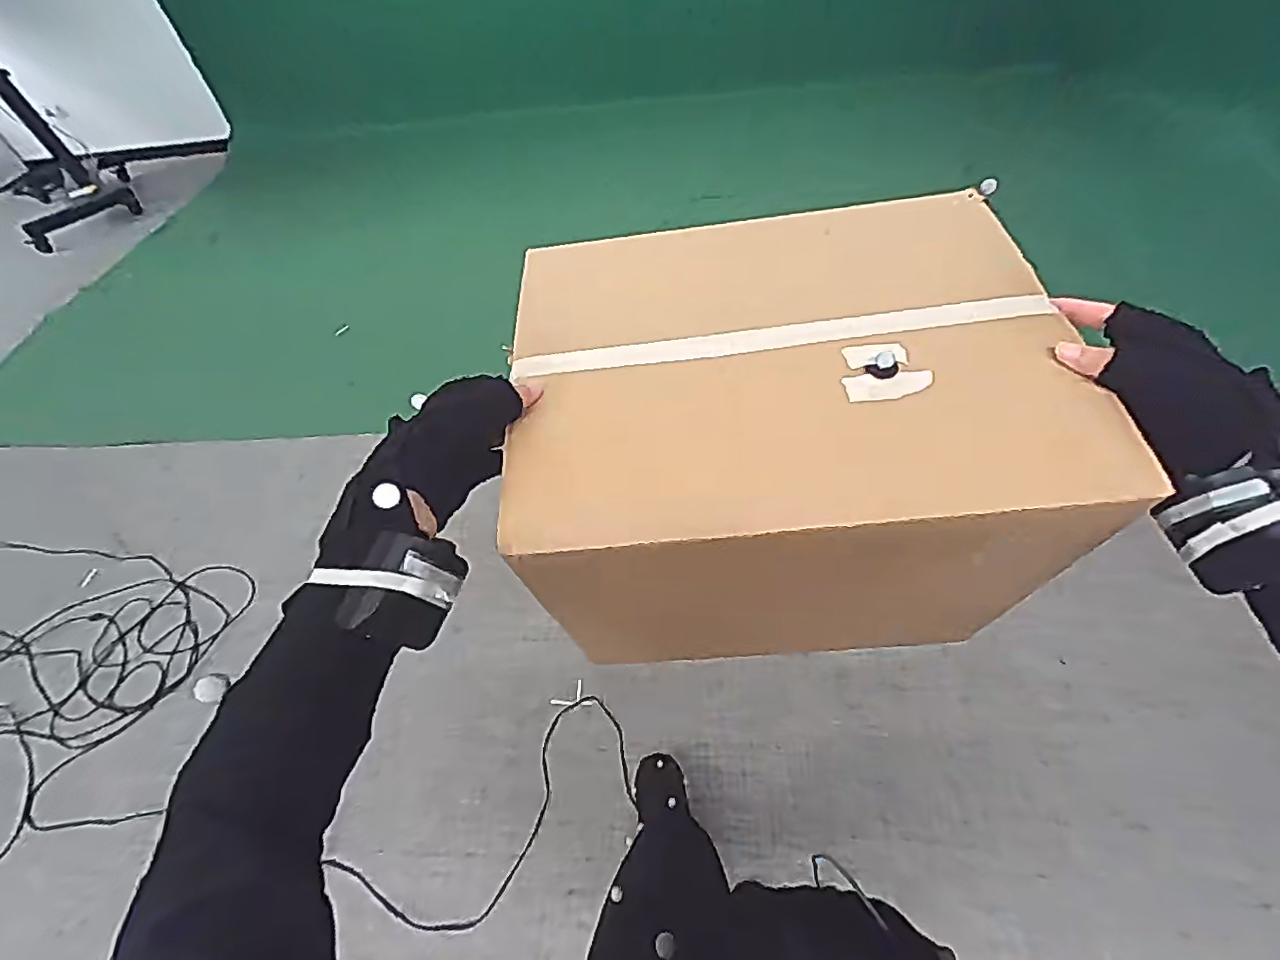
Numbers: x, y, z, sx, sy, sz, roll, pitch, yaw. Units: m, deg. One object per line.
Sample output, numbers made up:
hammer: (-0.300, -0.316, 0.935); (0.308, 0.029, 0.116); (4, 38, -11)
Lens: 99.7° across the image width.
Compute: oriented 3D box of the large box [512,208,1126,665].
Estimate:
large box: (0.116, -0.019, 0.552); (0.408, 0.320, 0.320); (-6, 58, 5)
